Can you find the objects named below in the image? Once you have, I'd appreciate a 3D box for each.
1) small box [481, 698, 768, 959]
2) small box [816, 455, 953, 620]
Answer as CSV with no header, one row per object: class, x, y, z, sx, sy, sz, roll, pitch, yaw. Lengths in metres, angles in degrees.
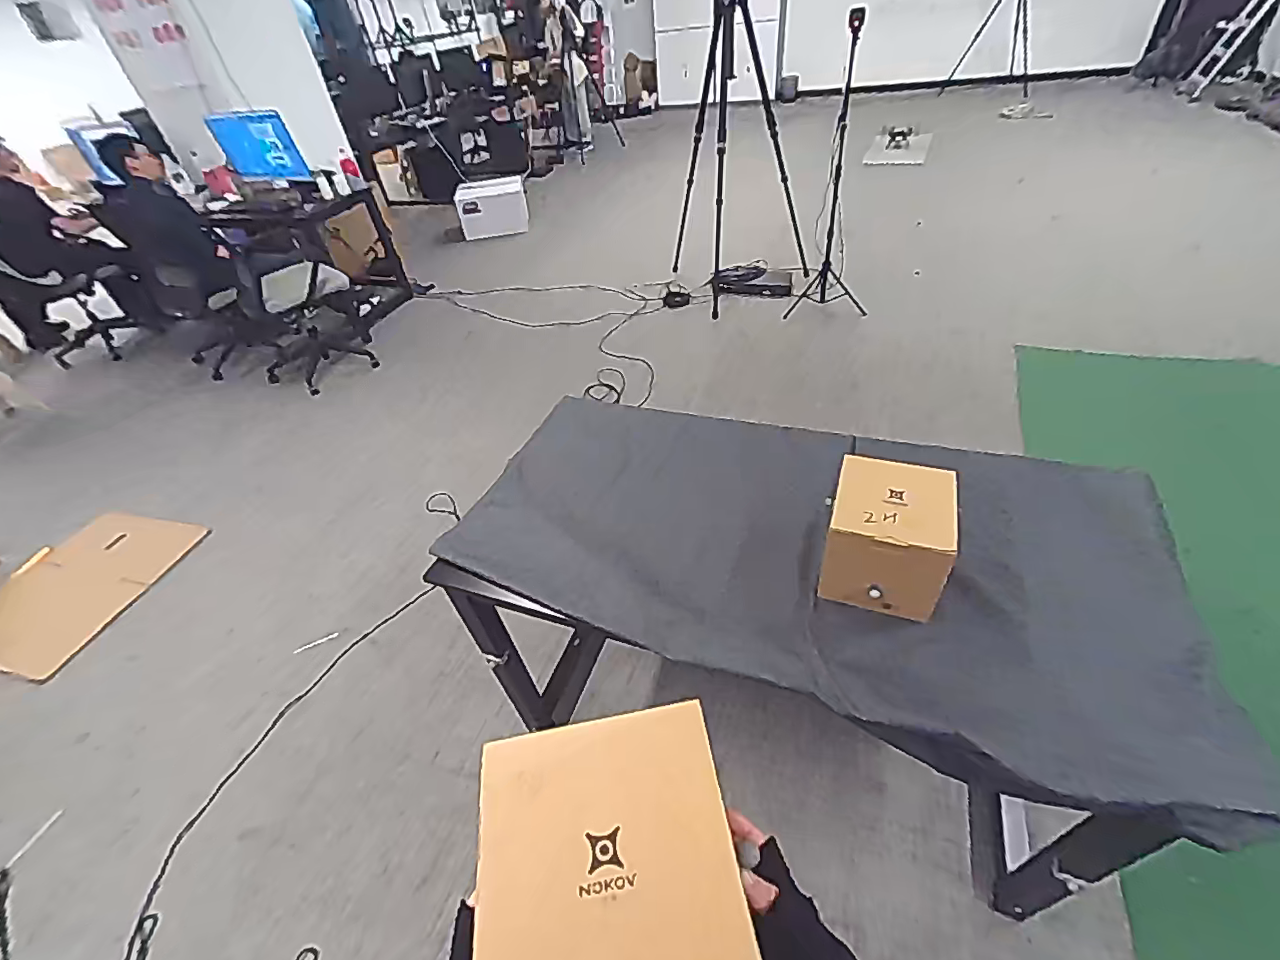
small box,-0.013,0.293,0.404,0.168,0.176,0.179,-10,47,-3
small box,0.385,0.089,0.863,0.168,0.176,0.179,12,46,20
